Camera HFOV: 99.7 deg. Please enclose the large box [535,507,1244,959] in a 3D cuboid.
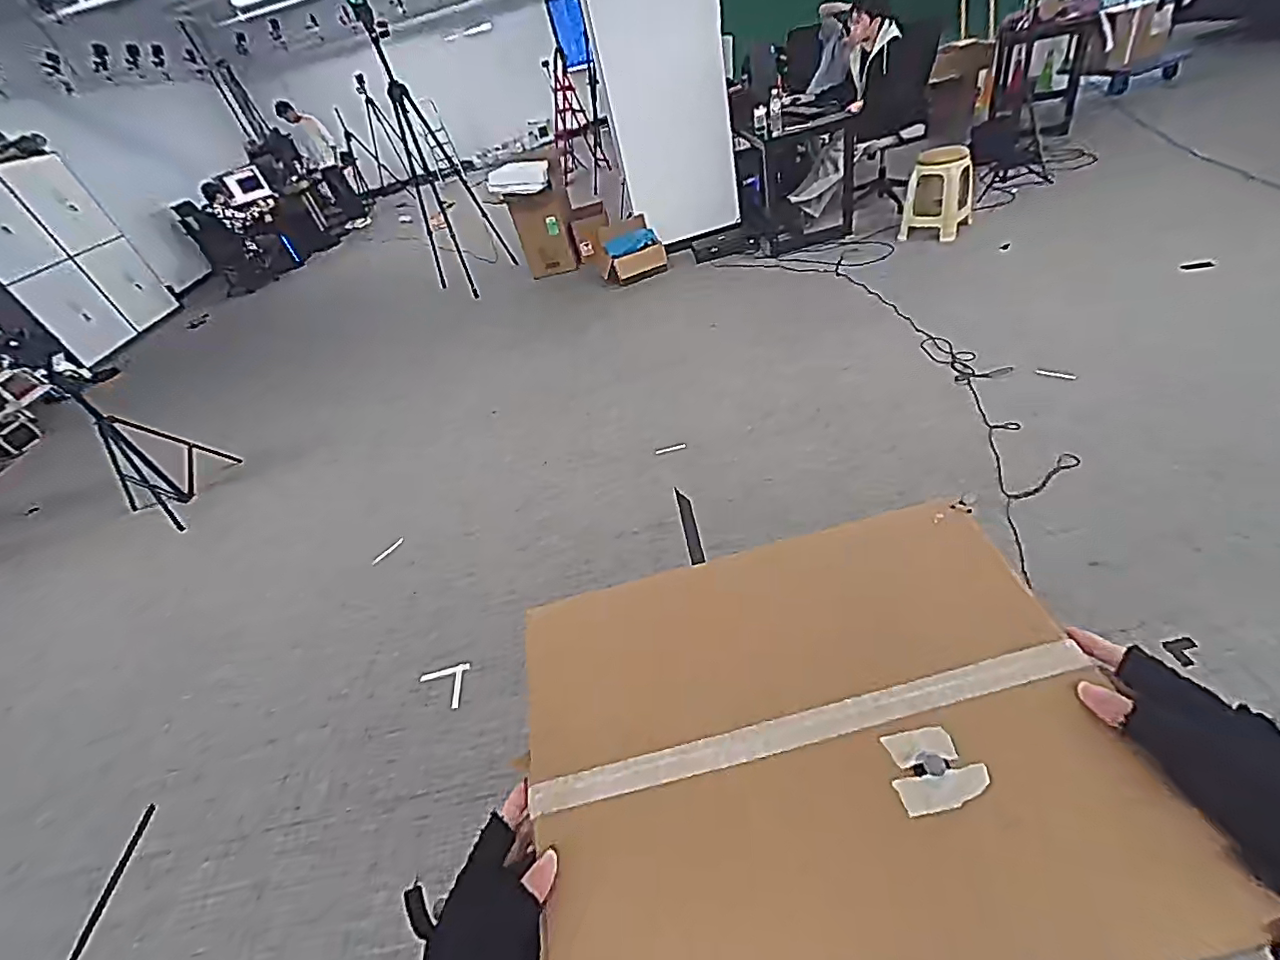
[{"bbox_3d":[0.147,0.283,0.510,0.408,0.320,0.320,-15,47,0],"label":"large box"}]
